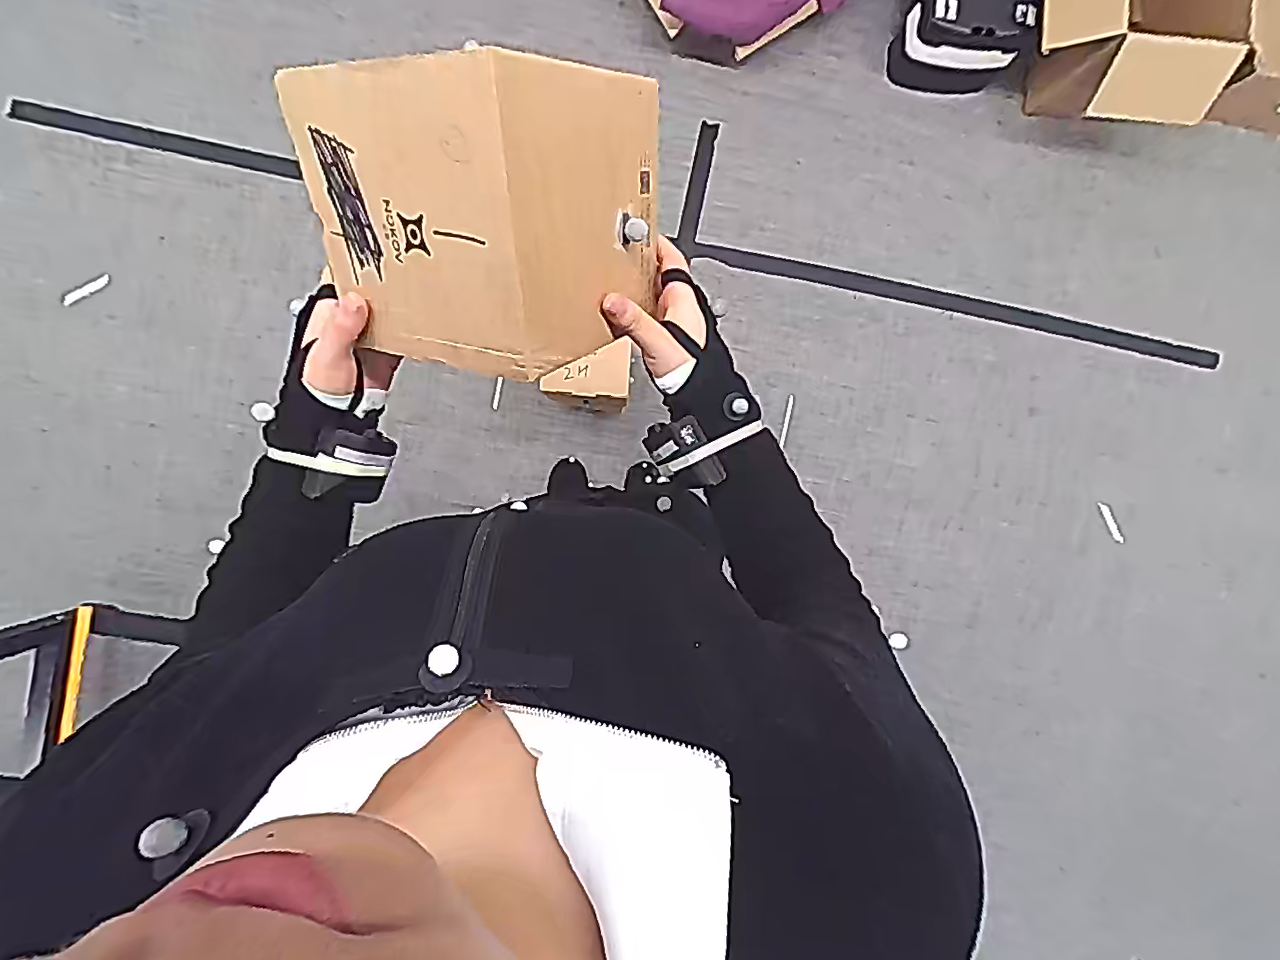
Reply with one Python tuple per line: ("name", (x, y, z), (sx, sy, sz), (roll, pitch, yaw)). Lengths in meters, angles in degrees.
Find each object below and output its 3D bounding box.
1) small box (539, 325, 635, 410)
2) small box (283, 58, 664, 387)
("small box", (-0.101, -0.241, 1.075), (0.168, 0.176, 0.179), (5, 92, -2))
("small box", (-0.099, -0.184, 0.387), (0.179, 0.176, 0.168), (15, 125, 24))
